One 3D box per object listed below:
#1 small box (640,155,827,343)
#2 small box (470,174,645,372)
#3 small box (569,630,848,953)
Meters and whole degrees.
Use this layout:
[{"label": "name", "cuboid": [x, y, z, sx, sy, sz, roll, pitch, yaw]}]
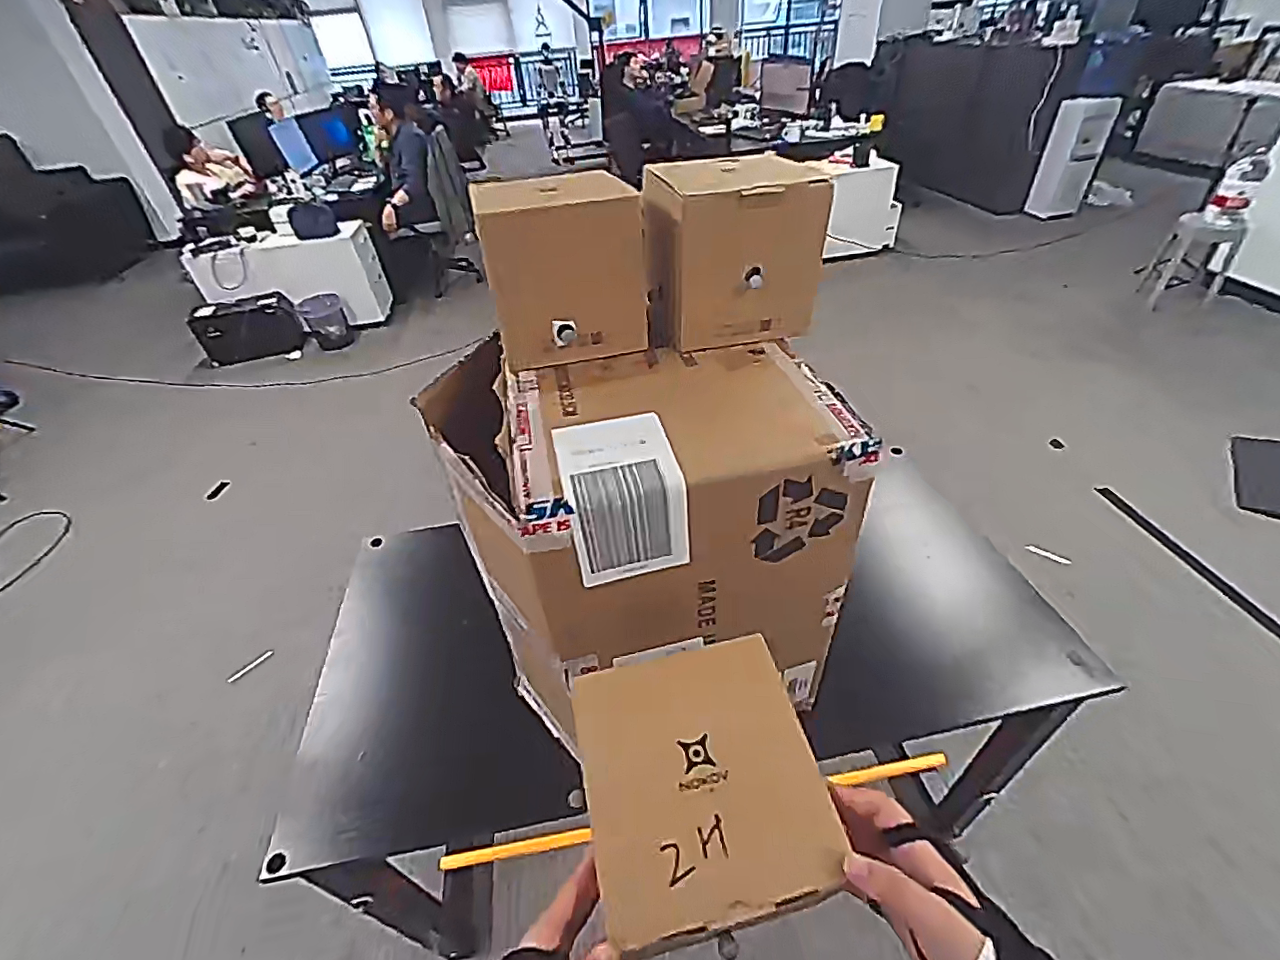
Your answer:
[{"label": "small box", "cuboid": [0.100, -0.276, 0.655, 0.168, 0.176, 0.179, -9, 41, -9]}, {"label": "small box", "cuboid": [-0.097, -0.248, 0.640, 0.168, 0.176, 0.179, -14, 40, -10]}, {"label": "small box", "cuboid": [0.040, 0.257, 0.451, 0.168, 0.176, 0.179, -11, 47, -7]}]
